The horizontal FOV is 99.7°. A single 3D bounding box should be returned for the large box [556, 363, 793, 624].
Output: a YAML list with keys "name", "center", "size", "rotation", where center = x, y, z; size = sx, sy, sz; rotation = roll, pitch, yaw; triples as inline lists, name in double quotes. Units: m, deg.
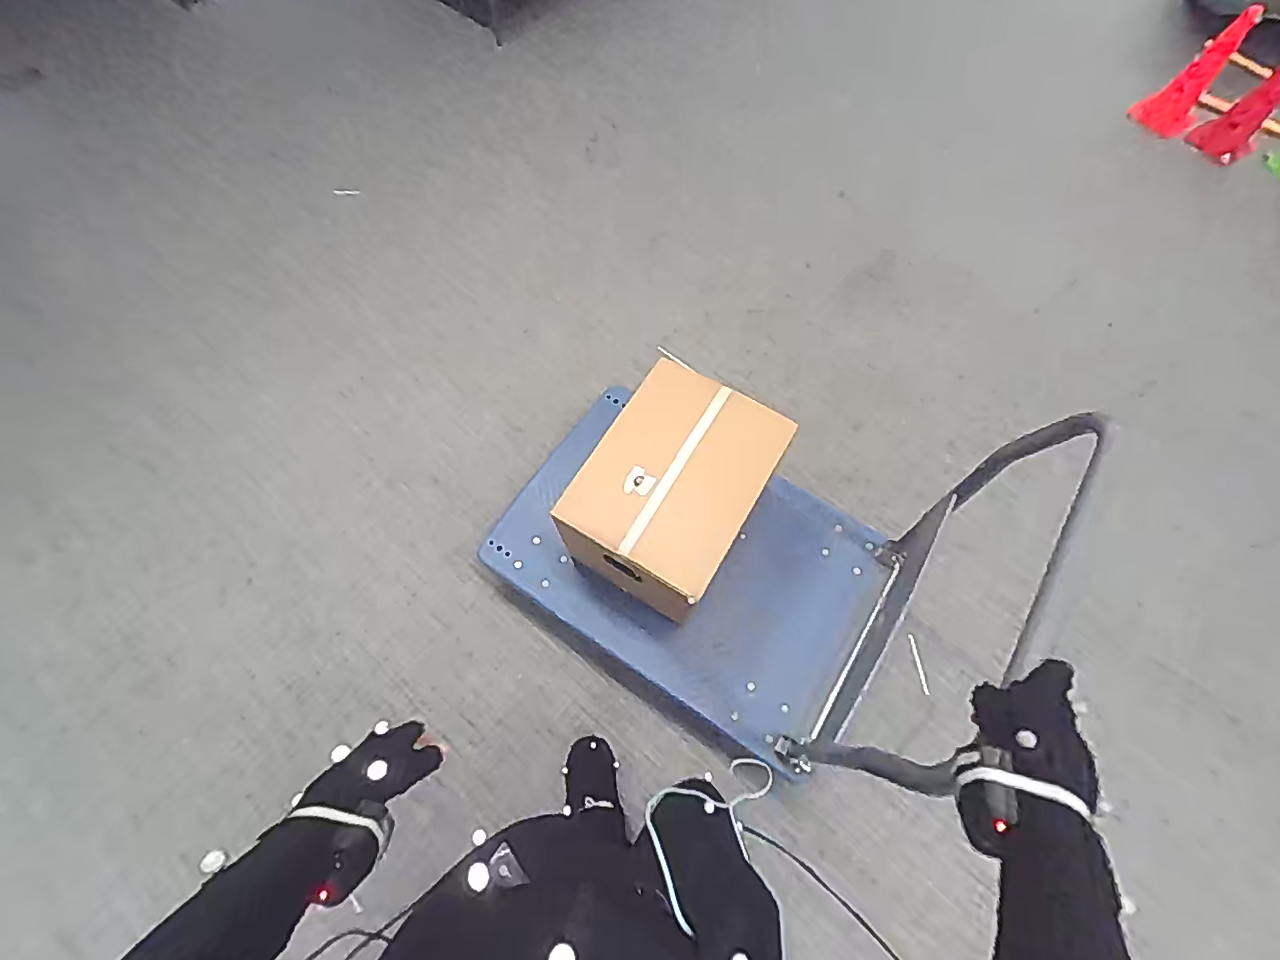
- name: "large box"
  center: [0.075, 0.040, 1.159]
  size: [0.320, 0.320, 0.408]
  rotation: [29, 71, 13]
